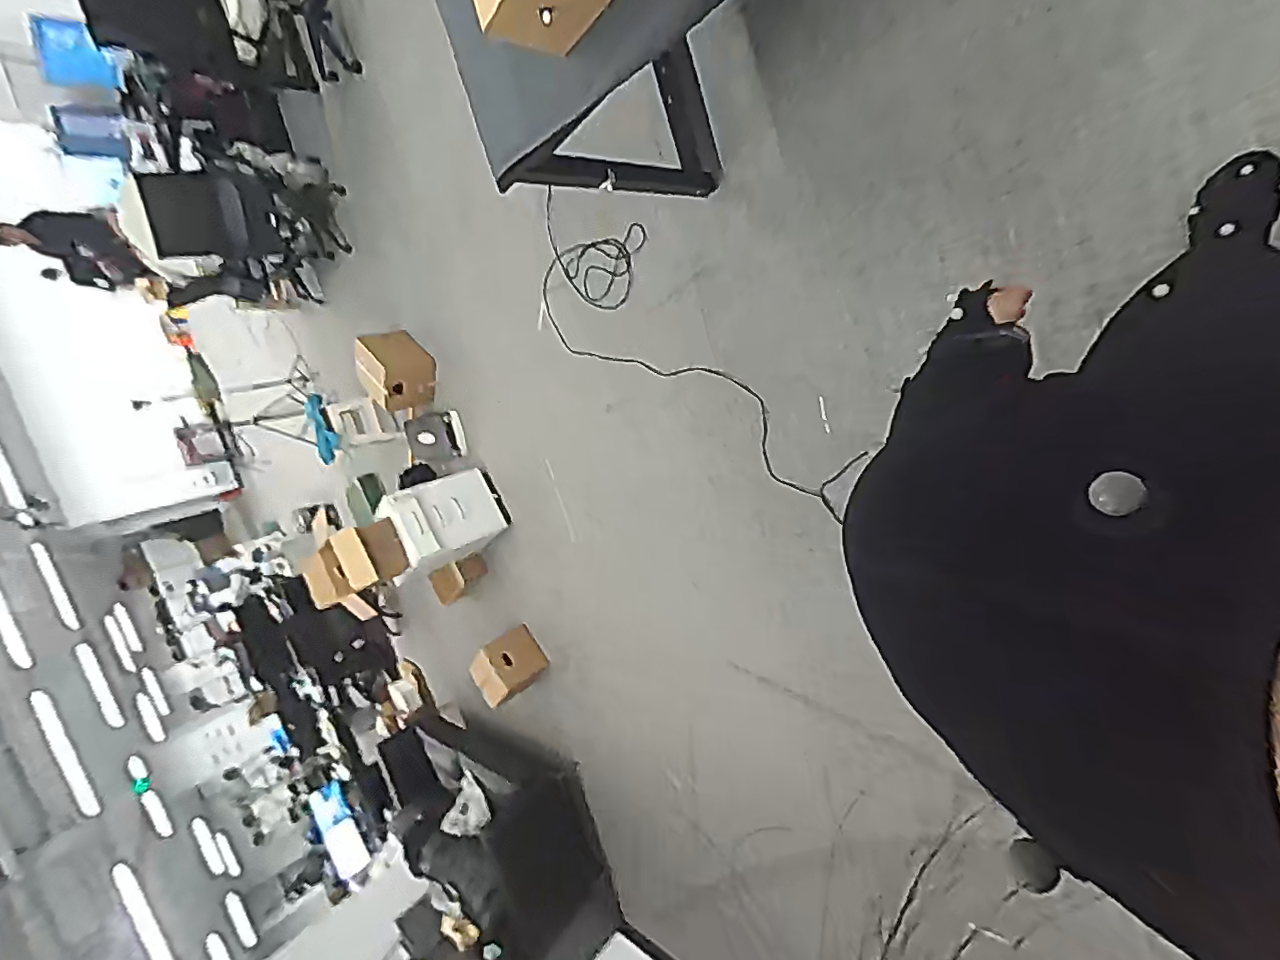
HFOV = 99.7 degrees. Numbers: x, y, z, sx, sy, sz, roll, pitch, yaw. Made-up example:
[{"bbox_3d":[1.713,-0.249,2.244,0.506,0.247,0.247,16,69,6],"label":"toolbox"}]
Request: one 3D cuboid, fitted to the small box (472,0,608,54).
[{"bbox_3d":[-0.162,-0.822,0.849,0.179,0.176,0.168,-7,101,49],"label":"small box"}]
